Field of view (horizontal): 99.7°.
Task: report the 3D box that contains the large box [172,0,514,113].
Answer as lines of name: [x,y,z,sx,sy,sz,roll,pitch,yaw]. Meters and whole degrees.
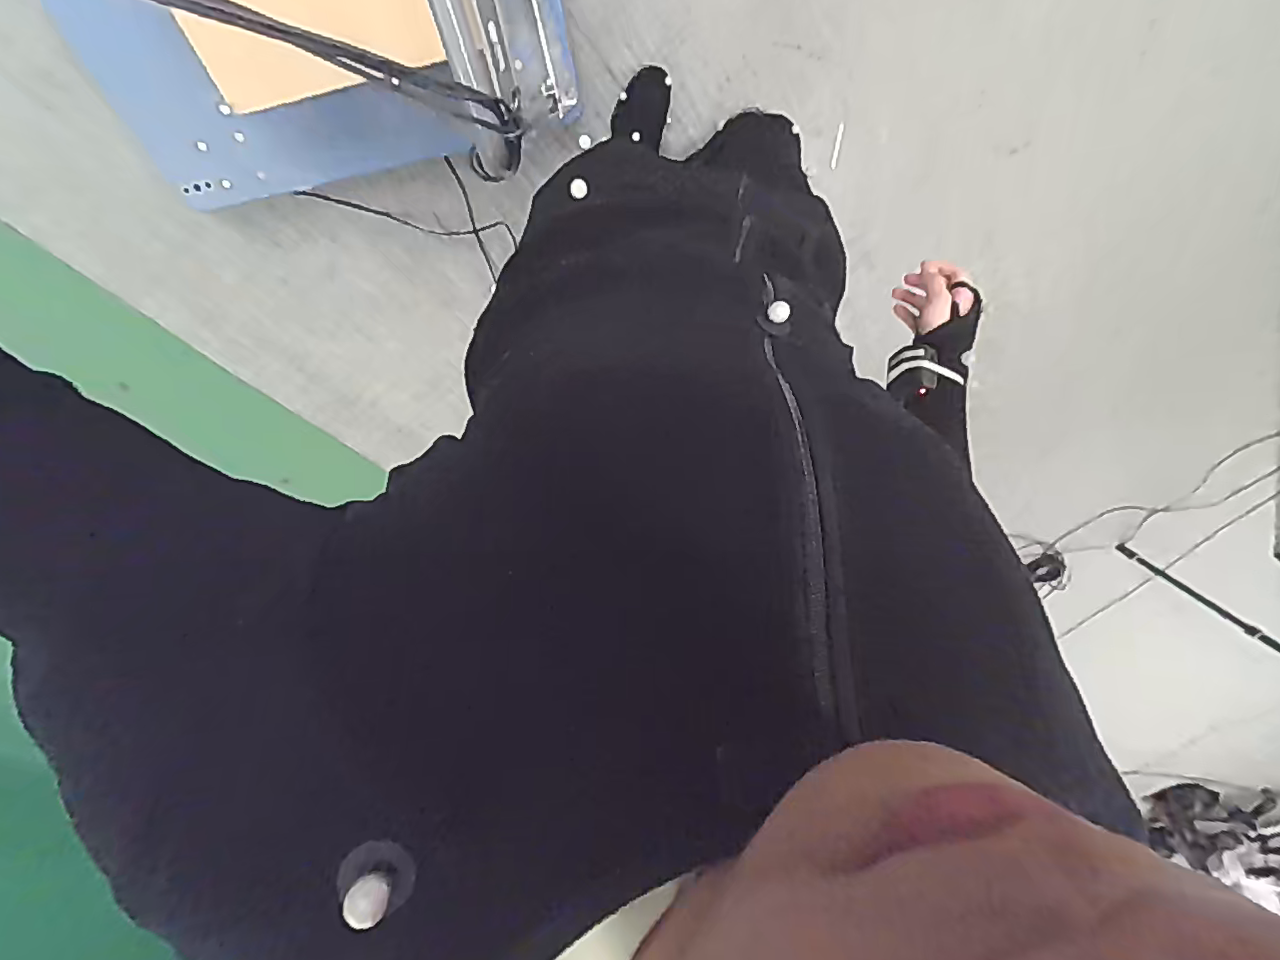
large box: [-0.445,-0.800,0.798,0.408,0.320,0.320,-11,131,6]
